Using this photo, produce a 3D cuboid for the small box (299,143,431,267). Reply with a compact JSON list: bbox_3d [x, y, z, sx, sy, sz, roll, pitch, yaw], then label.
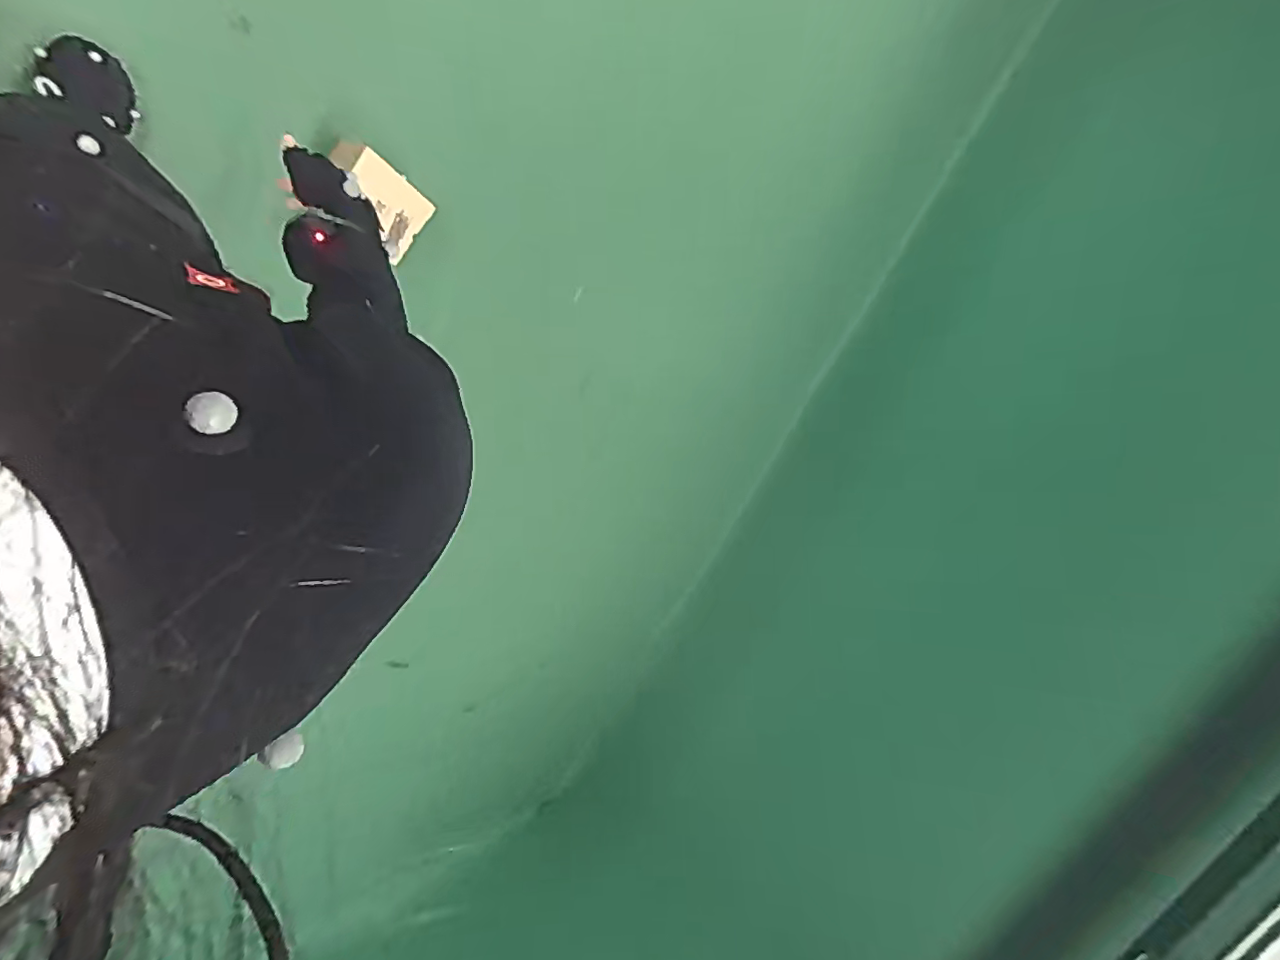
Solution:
[{"bbox_3d":[-0.613,-0.615,1.205,0.168,0.176,0.179,-55,144,1],"label":"small box"}]
